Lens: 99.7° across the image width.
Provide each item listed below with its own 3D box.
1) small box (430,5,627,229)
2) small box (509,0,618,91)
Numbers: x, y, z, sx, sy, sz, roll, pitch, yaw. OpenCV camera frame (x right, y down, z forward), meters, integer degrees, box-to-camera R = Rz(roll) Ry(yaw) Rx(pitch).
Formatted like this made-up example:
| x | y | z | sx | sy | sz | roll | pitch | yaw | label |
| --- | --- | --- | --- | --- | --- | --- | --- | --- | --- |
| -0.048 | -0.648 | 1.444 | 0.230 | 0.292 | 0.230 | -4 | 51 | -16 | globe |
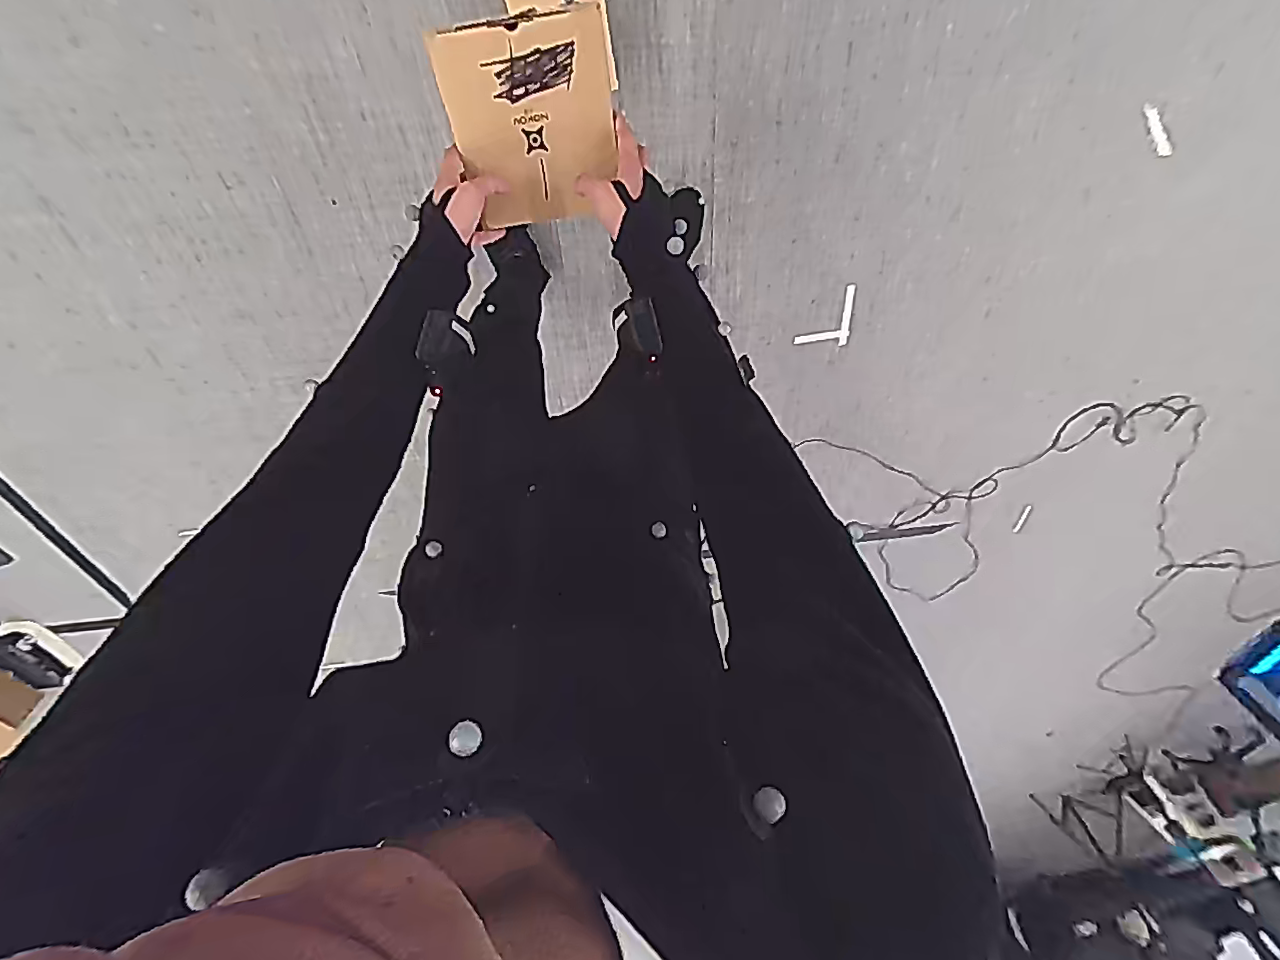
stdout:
| x | y | z | sx | sy | sz | roll | pitch | yaw | label |
| --- | --- | --- | --- | --- | --- | --- | --- | --- | --- |
| -0.110 | -0.408 | 0.607 | 0.168 | 0.176 | 0.179 | -7 | 133 | 3 | small box |
| -0.140 | -0.819 | 1.002 | 0.168 | 0.176 | 0.179 | -11 | 130 | 1 | small box |
